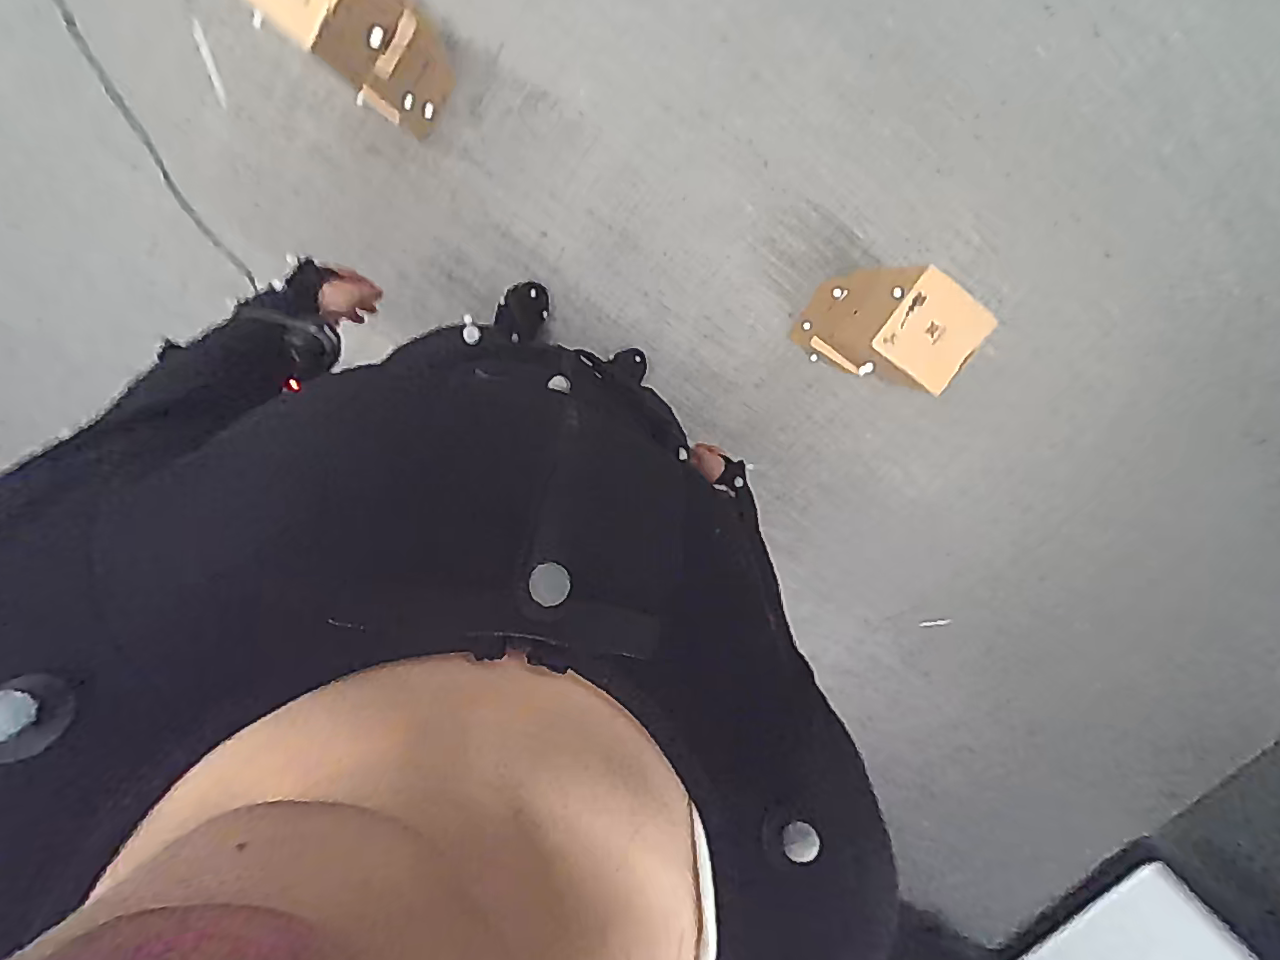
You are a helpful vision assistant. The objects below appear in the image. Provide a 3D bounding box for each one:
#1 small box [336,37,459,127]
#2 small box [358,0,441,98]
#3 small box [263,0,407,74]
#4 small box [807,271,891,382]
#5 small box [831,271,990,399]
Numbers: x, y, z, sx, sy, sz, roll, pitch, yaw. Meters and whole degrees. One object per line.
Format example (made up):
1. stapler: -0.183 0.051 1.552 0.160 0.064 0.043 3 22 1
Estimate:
1. small box: -0.497 -0.858 1.100 0.179 0.176 0.168 36 103 -15
2. small box: -0.479 -0.812 0.943 0.179 0.176 0.168 37 103 -14
3. small box: -0.480 -0.750 0.789 0.179 0.176 0.168 37 104 -15
4. small box: 0.509 -0.343 1.200 0.179 0.176 0.168 33 103 -14
5. small box: 0.512 -0.285 1.046 0.179 0.176 0.168 32 104 -15
